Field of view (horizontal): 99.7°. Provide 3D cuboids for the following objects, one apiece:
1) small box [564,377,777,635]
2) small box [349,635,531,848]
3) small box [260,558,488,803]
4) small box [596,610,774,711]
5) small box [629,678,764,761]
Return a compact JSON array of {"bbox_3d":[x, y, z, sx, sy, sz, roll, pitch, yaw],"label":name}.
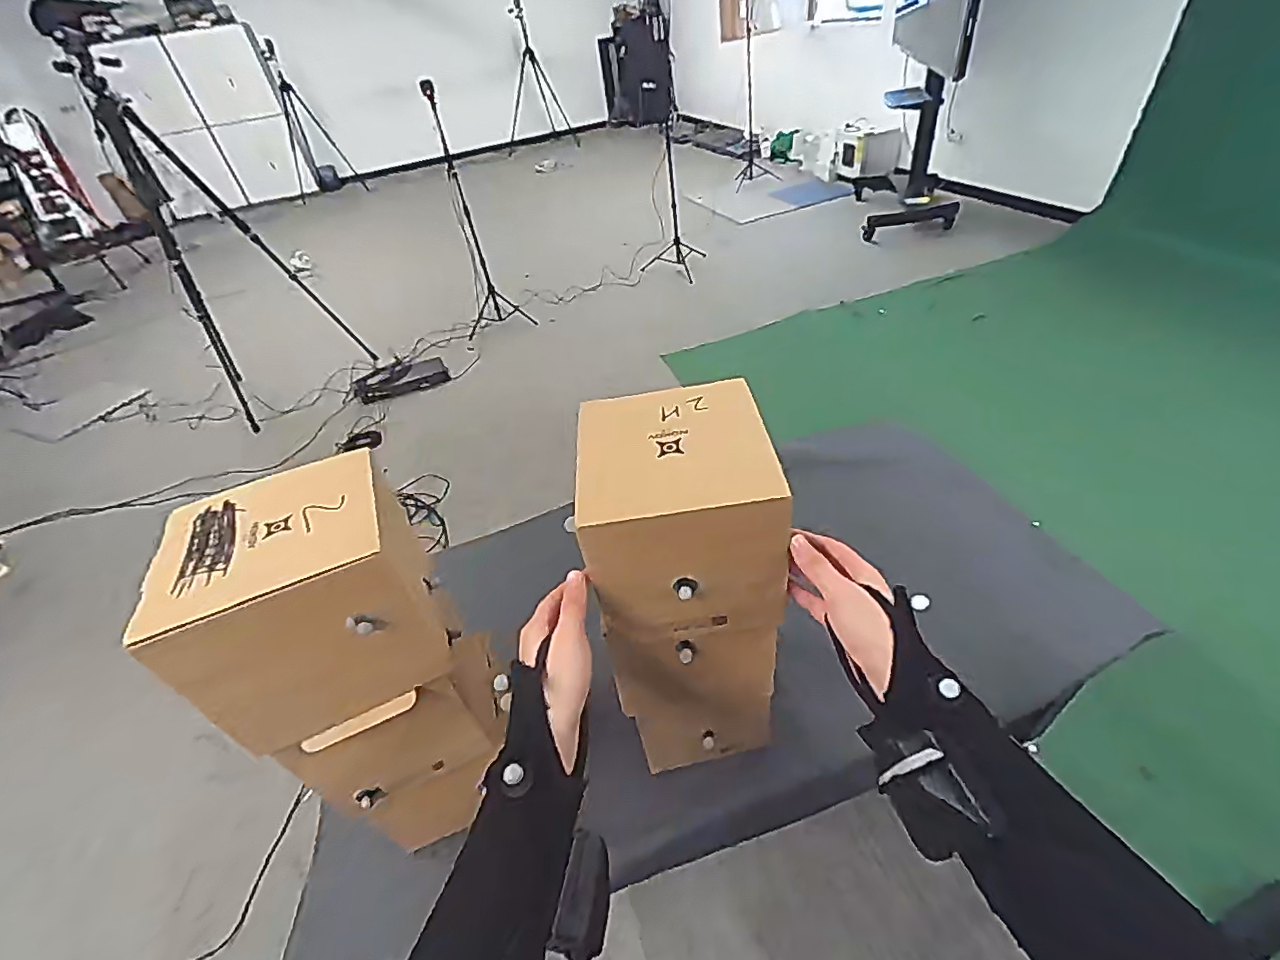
[{"bbox_3d":[0.030,0.030,0.513,0.168,0.176,0.179,-9,41,3],"label":"small box"},{"bbox_3d":[-0.255,0.346,0.718,0.179,0.176,0.168,-20,41,-10],"label":"small box"},{"bbox_3d":[-0.286,0.228,0.608,0.168,0.176,0.179,-22,40,-14],"label":"small box"},{"bbox_3d":[0.049,0.145,0.630,0.179,0.176,0.168,-10,41,2],"label":"small box"},{"bbox_3d":[0.066,0.262,0.744,0.168,0.176,0.179,-13,41,-2],"label":"small box"}]
